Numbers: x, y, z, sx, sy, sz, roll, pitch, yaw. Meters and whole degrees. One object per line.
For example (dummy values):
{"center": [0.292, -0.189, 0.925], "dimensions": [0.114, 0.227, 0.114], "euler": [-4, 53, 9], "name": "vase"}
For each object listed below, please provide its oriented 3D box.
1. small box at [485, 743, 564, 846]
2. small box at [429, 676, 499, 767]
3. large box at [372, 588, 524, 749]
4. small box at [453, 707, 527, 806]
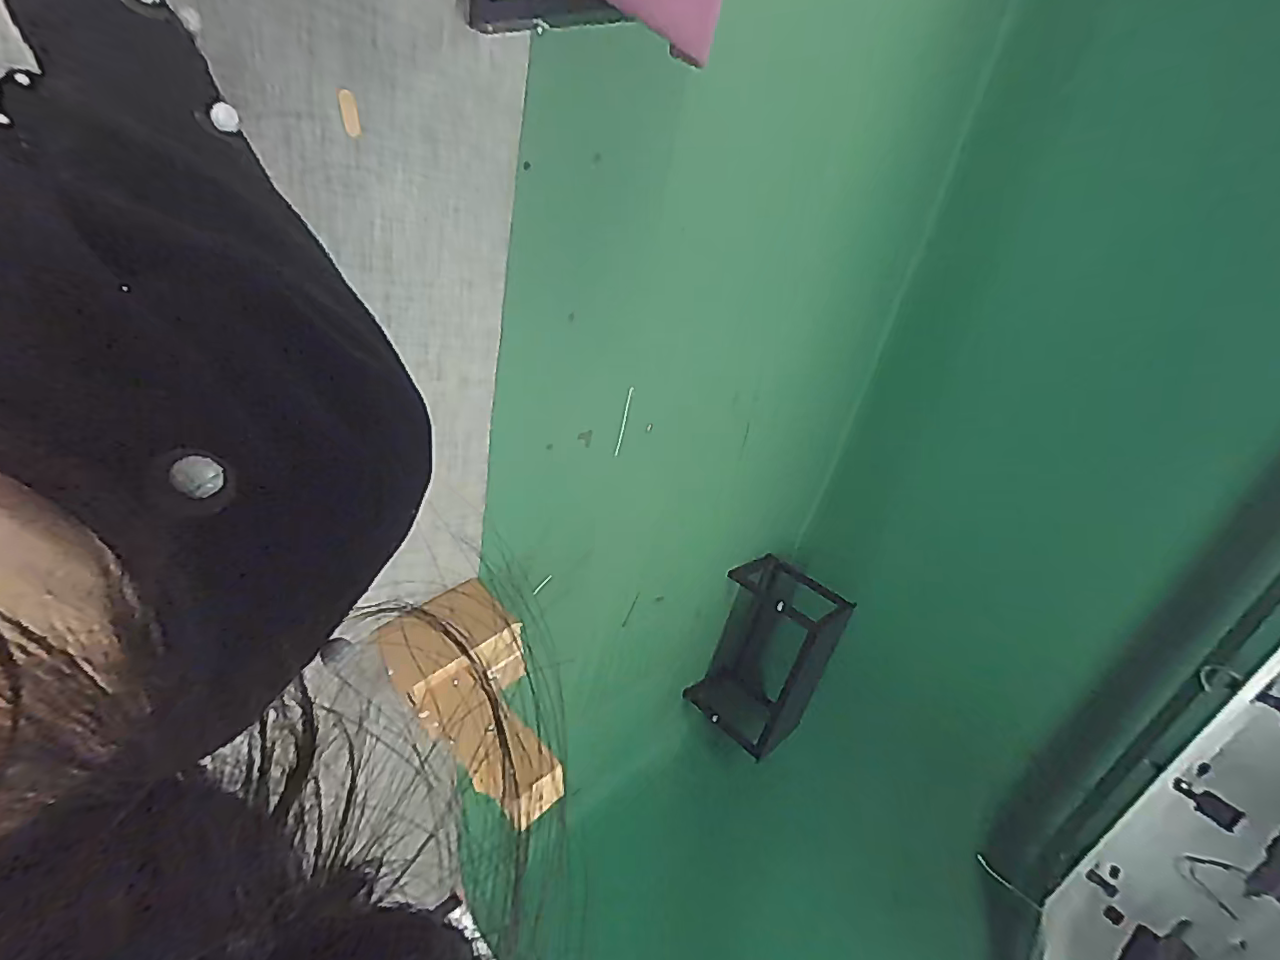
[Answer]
{"center": [-0.344, 0.922, 1.606], "dimensions": [0.168, 0.176, 0.179], "euler": [-26, 133, -38], "name": "small box"}
{"center": [-0.583, 0.794, 1.790], "dimensions": [0.179, 0.176, 0.168], "euler": [-23, 131, -39], "name": "small box"}
{"center": [-0.695, 0.676, 1.992], "dimensions": [0.408, 0.320, 0.320], "euler": [-29, 135, -37], "name": "large box"}
{"center": [-0.468, 0.860, 1.693], "dimensions": [0.179, 0.176, 0.168], "euler": [-29, 134, -37], "name": "small box"}
